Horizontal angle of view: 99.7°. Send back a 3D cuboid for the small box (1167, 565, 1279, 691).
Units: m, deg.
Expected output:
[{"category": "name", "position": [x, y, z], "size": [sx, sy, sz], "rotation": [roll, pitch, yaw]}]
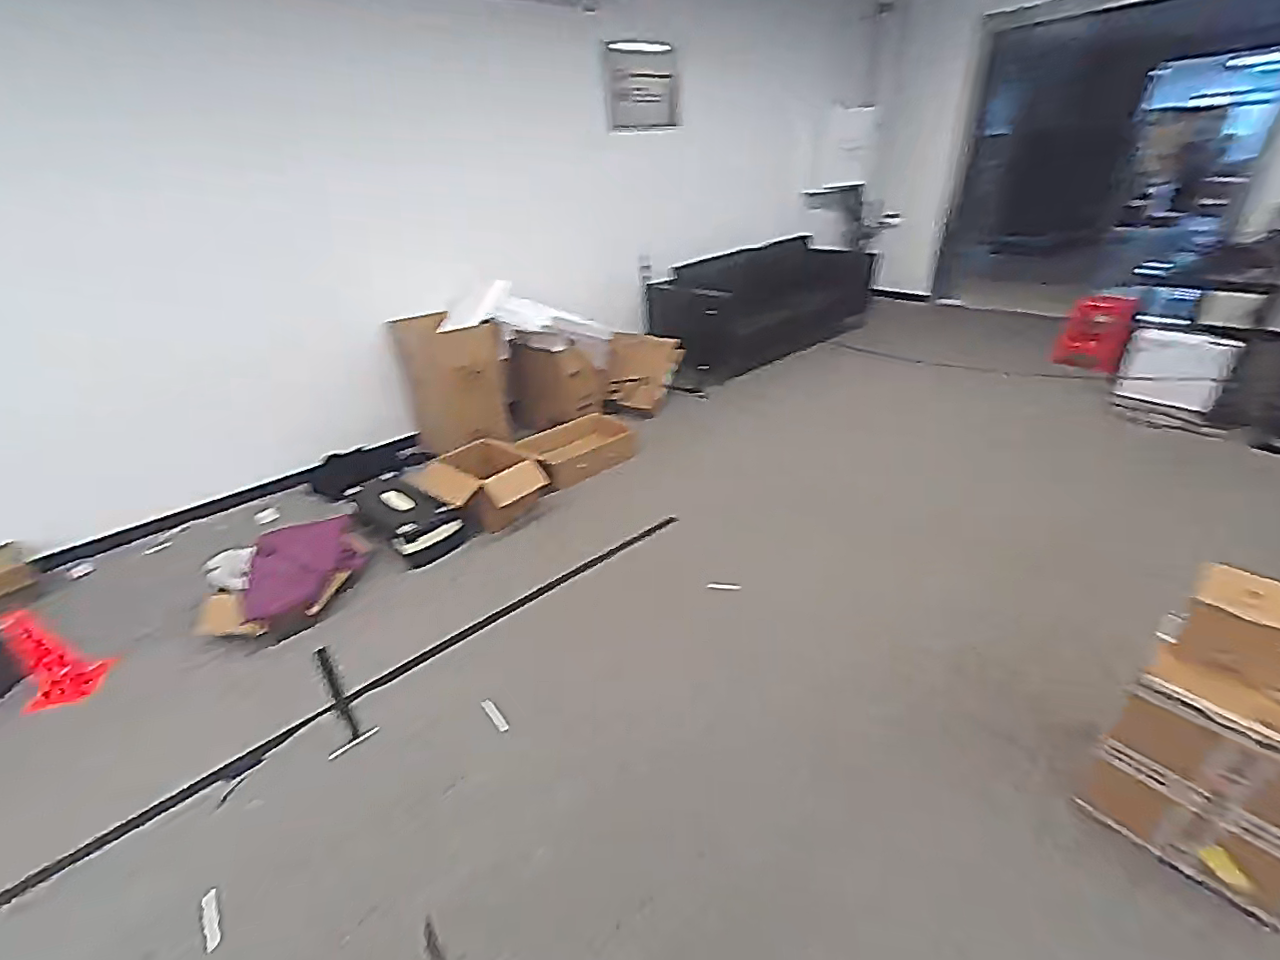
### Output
[{"category": "small box", "position": [1.336, 0.328, 1.212], "size": [0.179, 0.176, 0.168], "rotation": [-27, 35, -30]}]
